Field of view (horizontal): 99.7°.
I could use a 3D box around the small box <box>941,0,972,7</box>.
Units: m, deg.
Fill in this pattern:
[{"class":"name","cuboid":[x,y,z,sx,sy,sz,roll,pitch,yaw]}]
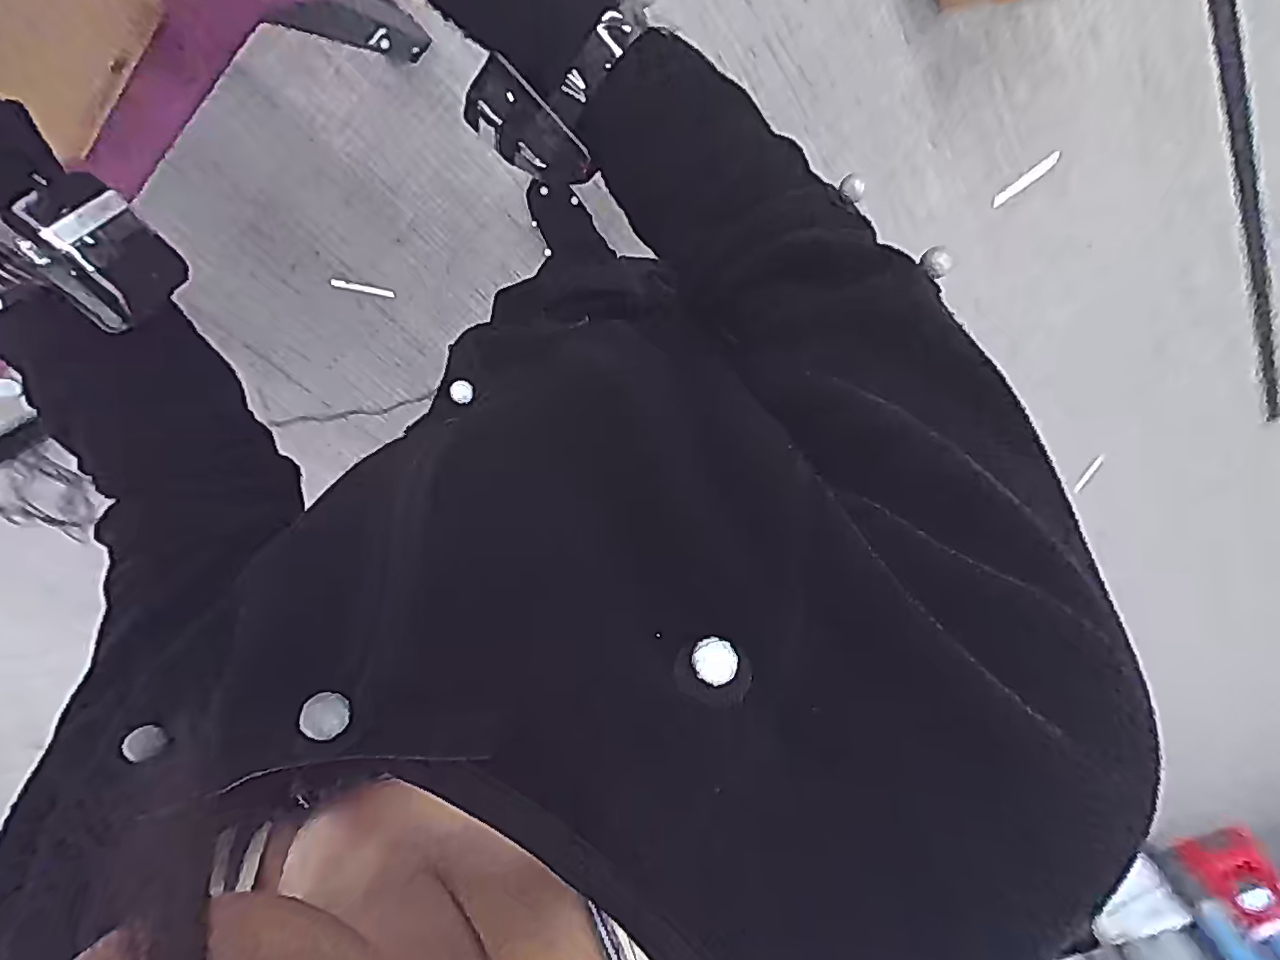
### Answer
[{"class":"small box","cuboid":[0.612,-0.963,0.922,0.179,0.176,0.168,-38,121,18]}]
